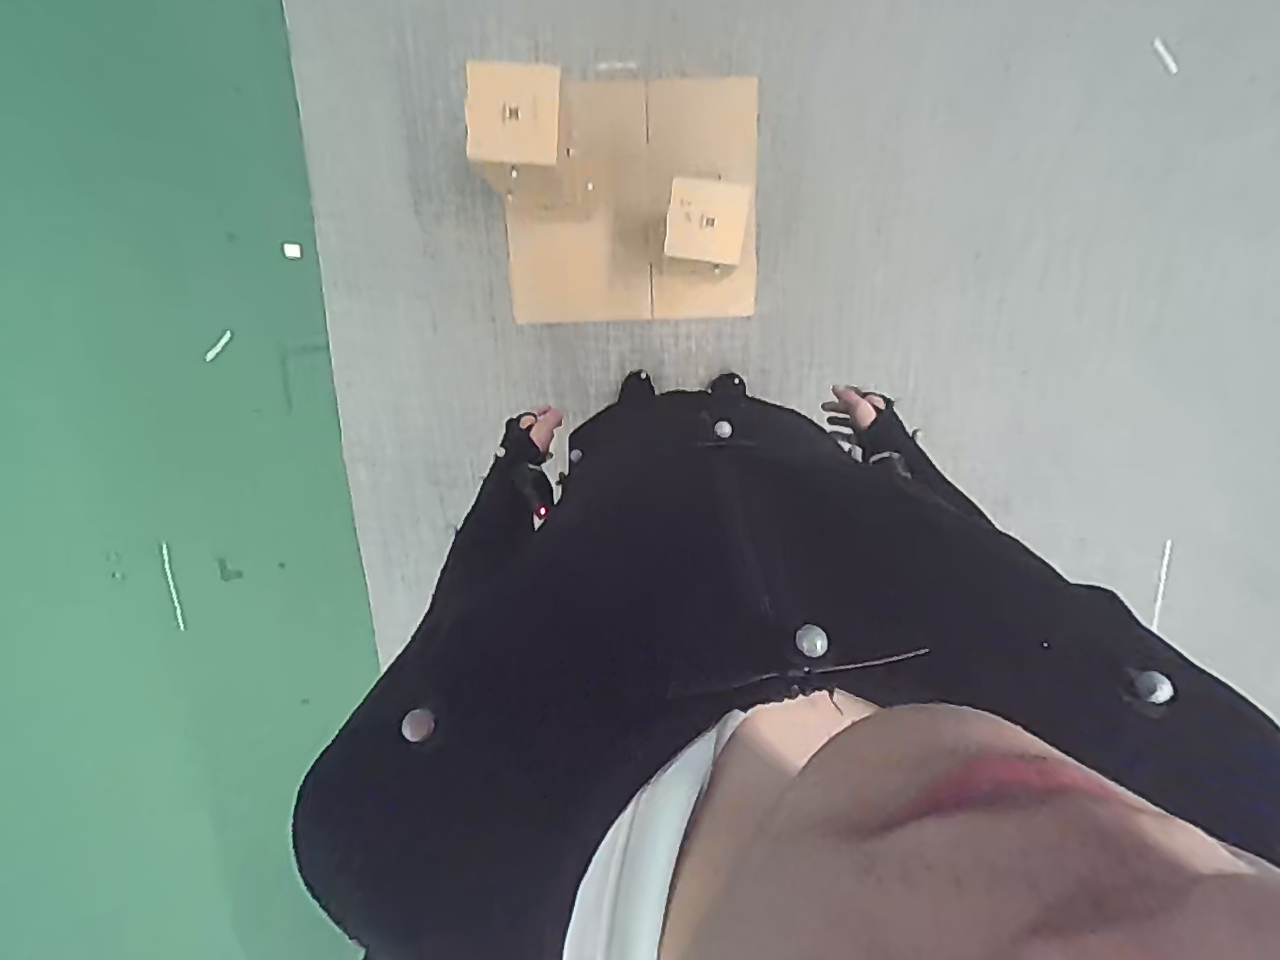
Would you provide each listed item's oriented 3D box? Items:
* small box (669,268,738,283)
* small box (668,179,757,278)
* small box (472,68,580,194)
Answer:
[{"bbox_3d":[0.172,-0.622,1.431,0.179,0.176,0.168,4,102,3],"label":"small box"},{"bbox_3d":[0.163,-0.581,1.271,0.179,0.176,0.168,8,102,2],"label":"small box"},{"bbox_3d":[-0.225,-0.697,1.098,0.179,0.176,0.168,5,103,1],"label":"small box"}]
